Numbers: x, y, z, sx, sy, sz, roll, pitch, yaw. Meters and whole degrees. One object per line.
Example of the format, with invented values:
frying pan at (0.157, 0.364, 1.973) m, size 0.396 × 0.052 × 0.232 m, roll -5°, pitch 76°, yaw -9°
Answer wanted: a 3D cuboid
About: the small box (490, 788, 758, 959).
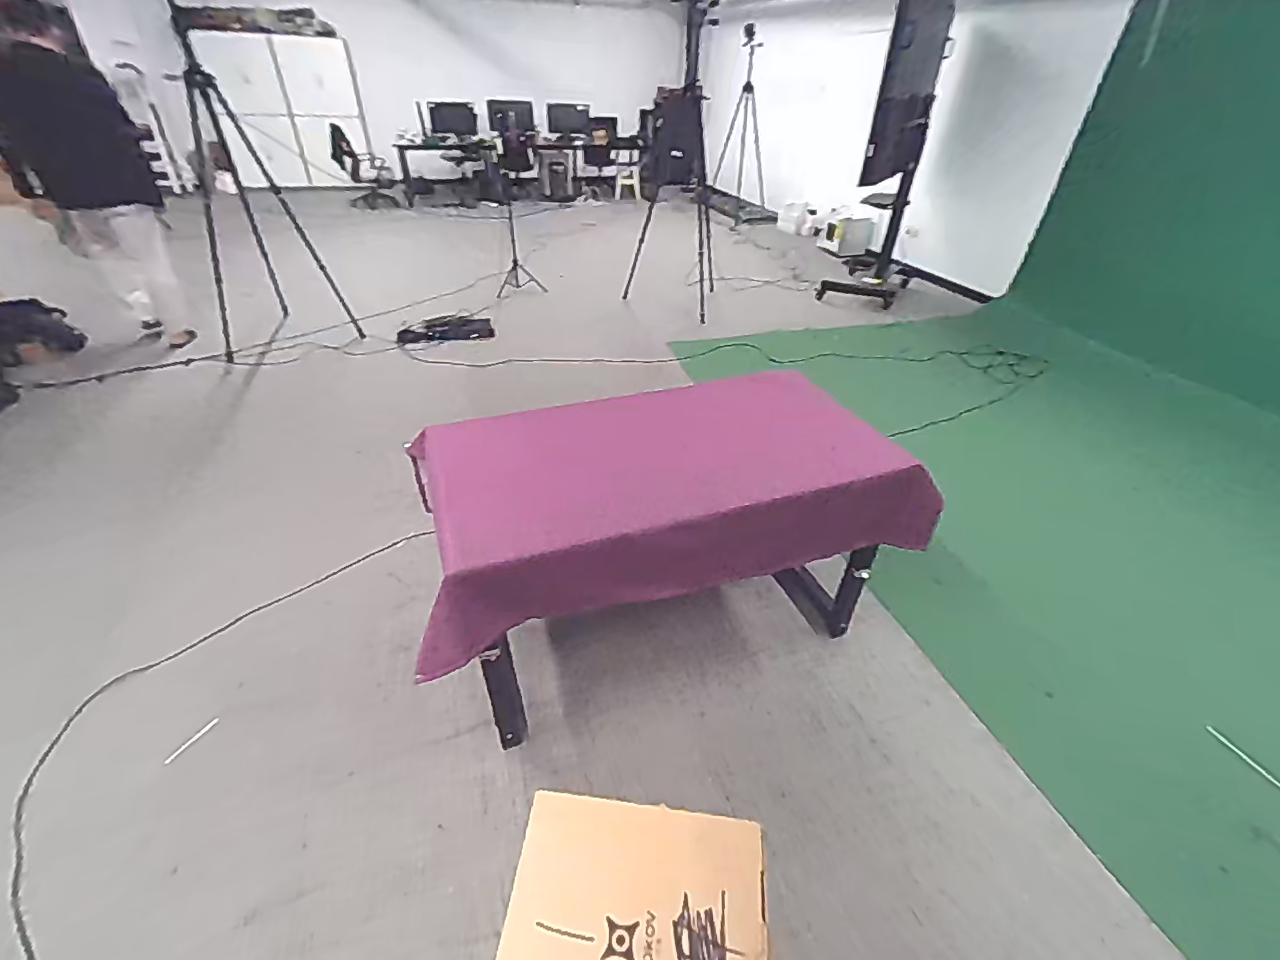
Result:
small box at (-0.011, 0.362, 0.412) m, size 0.179 × 0.176 × 0.168 m, roll 5°, pitch 44°, yaw 5°
